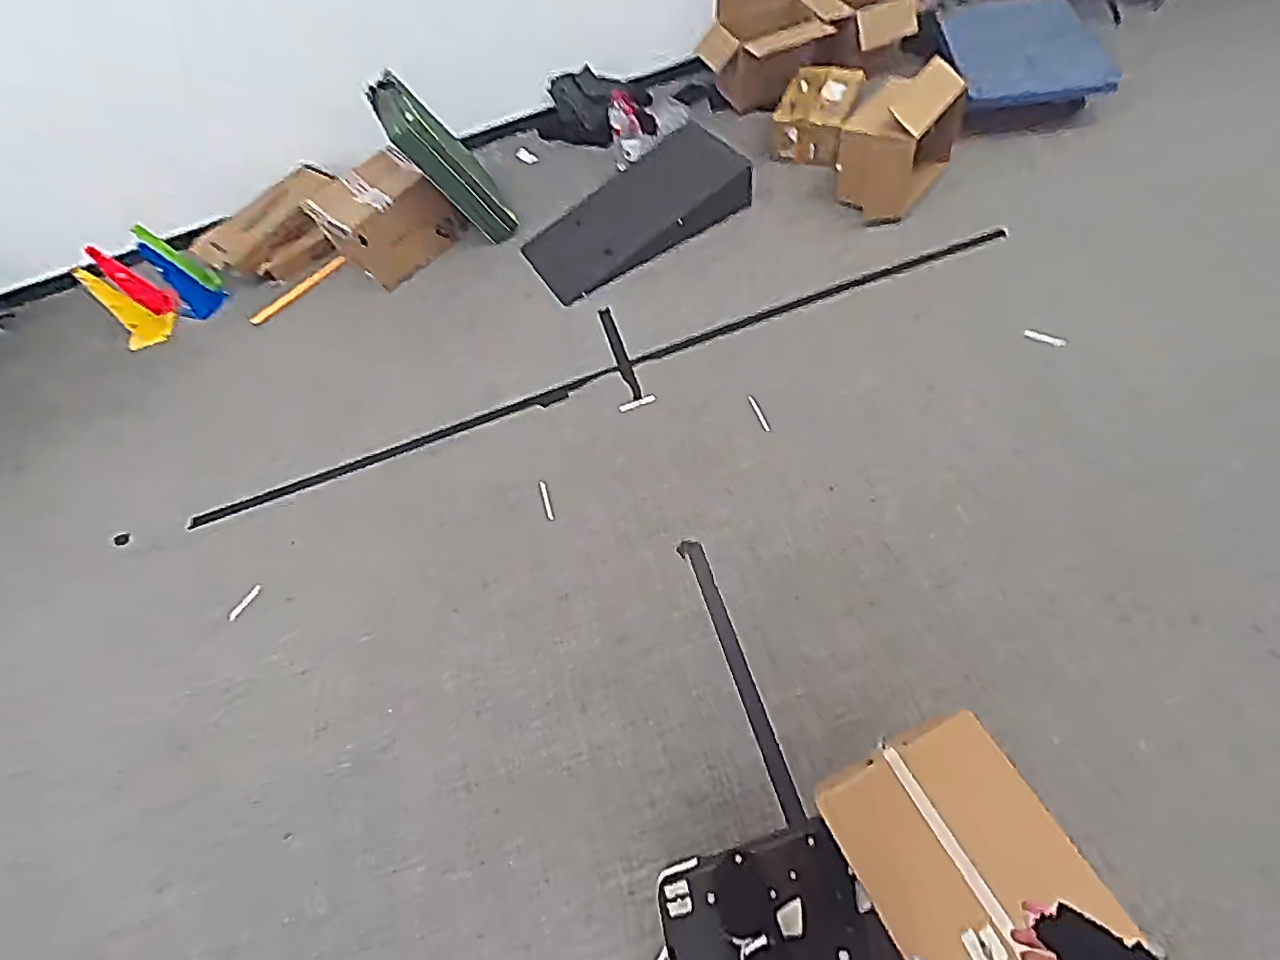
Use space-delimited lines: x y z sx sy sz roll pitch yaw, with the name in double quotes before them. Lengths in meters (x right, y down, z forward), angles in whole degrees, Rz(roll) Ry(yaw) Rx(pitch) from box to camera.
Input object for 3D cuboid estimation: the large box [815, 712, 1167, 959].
"large box" 0.563 0.685 0.964 0.320 0.320 0.408 -31 60 1
